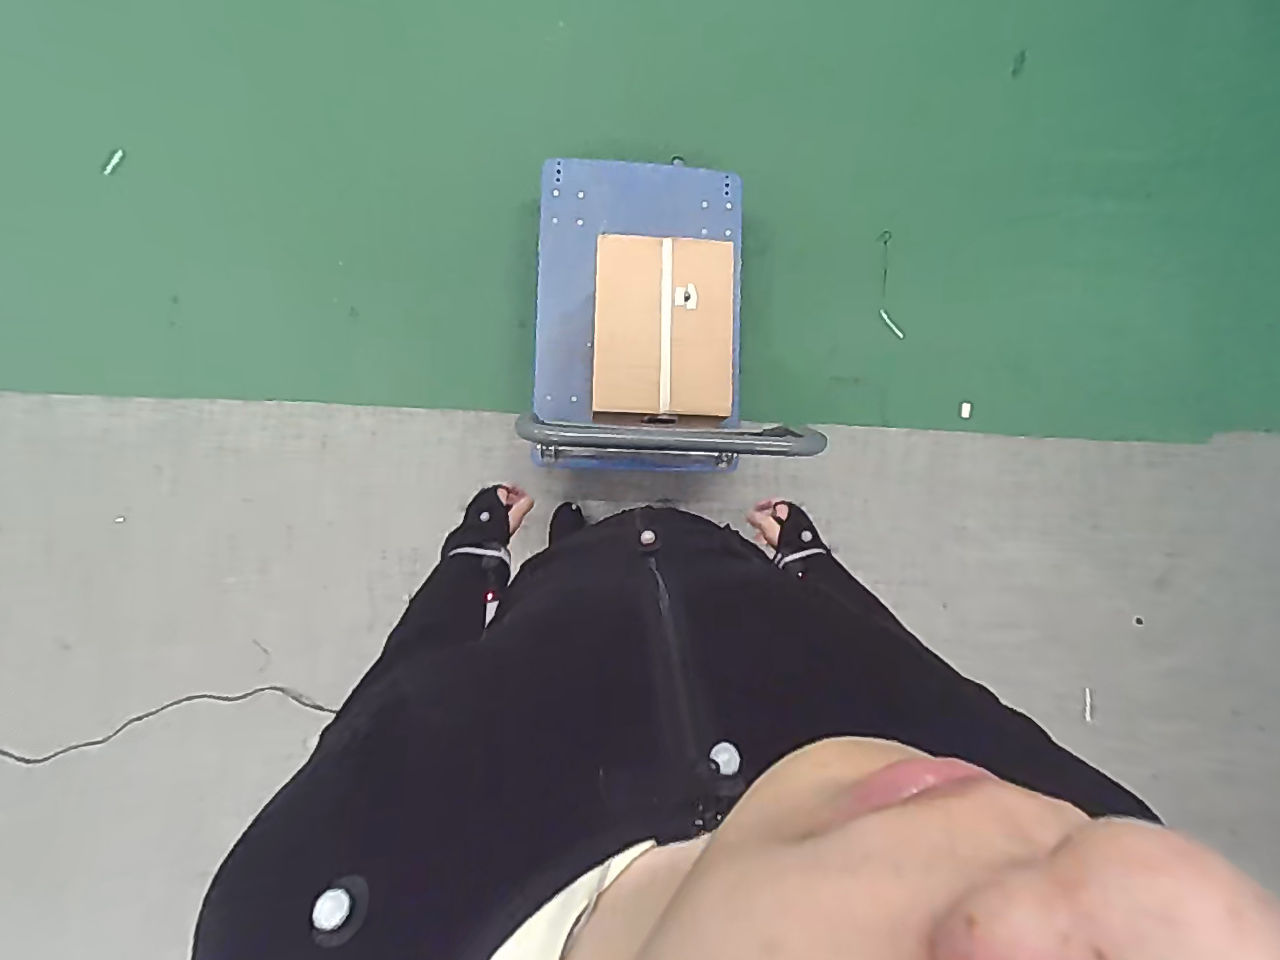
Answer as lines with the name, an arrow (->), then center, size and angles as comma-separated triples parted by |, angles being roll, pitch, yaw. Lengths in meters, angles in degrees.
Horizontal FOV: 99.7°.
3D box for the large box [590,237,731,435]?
large box -> 0.035, -0.332, 1.353 | 0.320, 0.320, 0.408 | 1, 85, -6
